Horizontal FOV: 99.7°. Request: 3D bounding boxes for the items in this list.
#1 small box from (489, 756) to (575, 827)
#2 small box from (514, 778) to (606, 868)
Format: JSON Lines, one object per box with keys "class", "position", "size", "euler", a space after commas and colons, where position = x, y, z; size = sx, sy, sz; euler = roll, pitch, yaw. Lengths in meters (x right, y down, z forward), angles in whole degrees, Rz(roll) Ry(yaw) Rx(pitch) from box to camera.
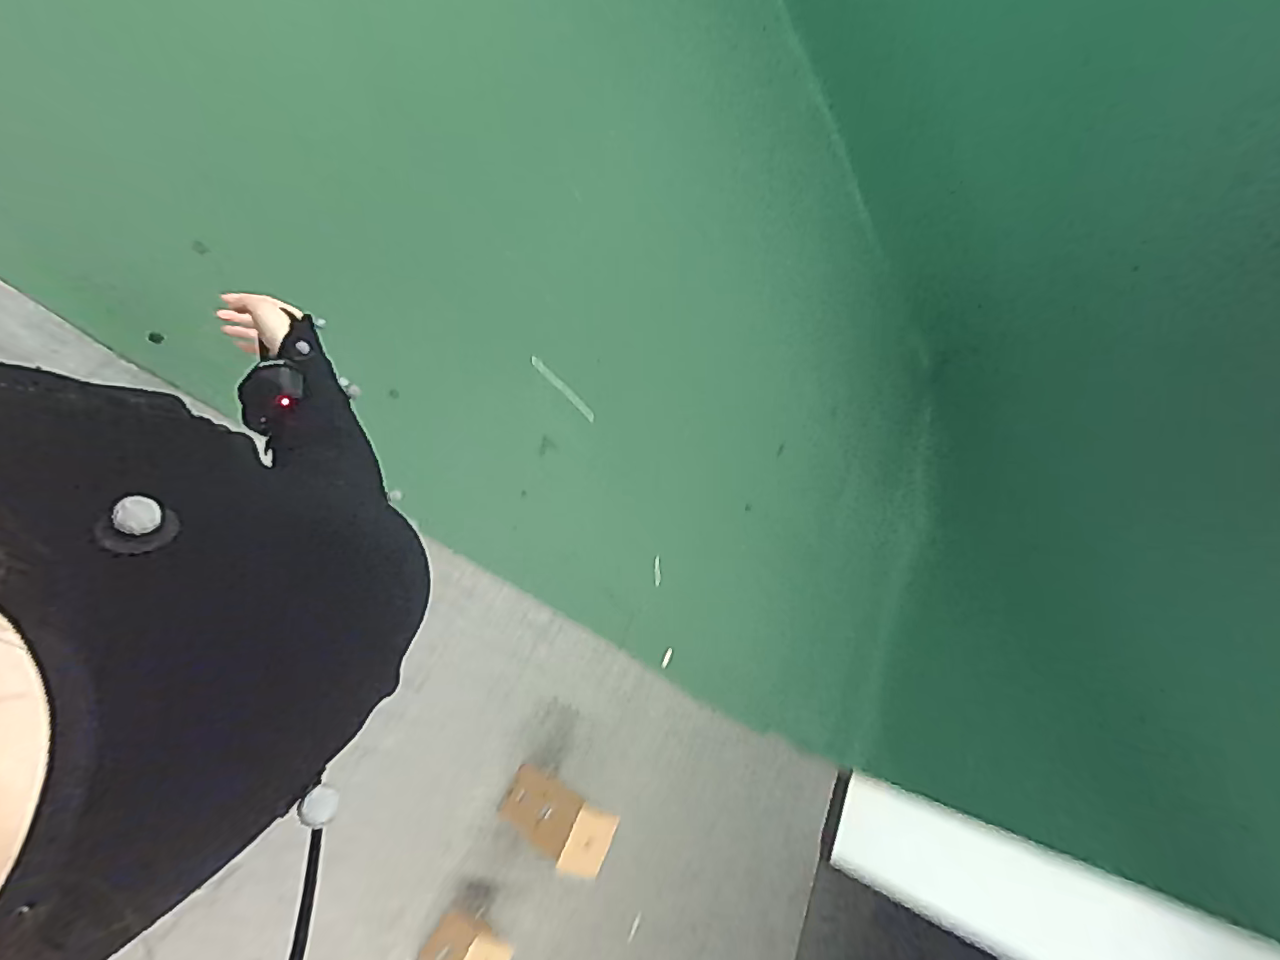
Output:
{"class": "small box", "position": [-0.352, 1.019, 1.744], "size": [0.179, 0.176, 0.168], "euler": [47, 61, -33]}
{"class": "small box", "position": [-0.241, 1.025, 1.624], "size": [0.179, 0.176, 0.168], "euler": [43, 62, -35]}
